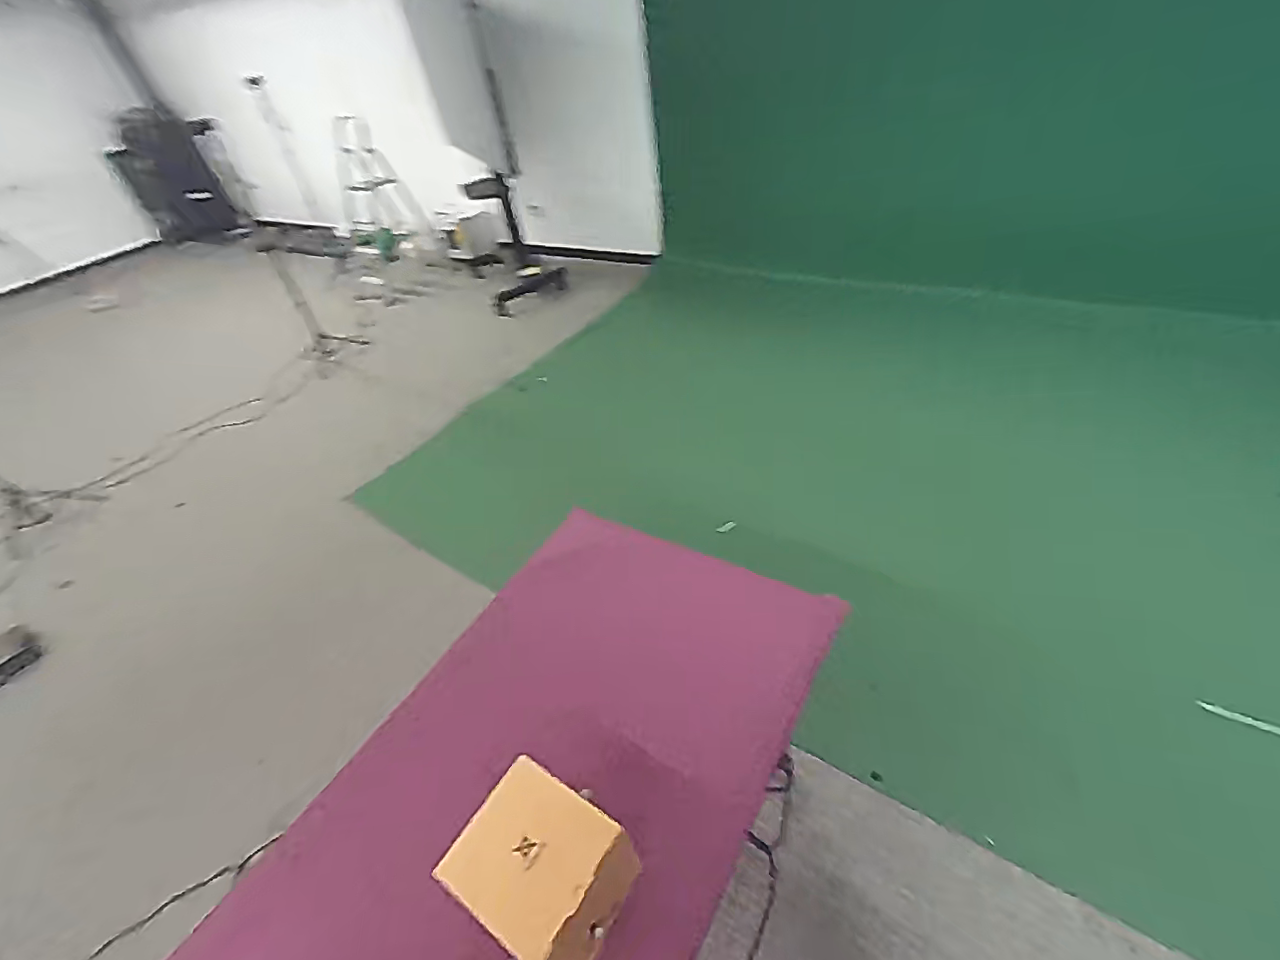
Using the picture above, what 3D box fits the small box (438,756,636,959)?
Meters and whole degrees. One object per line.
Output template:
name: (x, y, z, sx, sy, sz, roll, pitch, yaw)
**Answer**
small box: (-0.126, 0.515, 0.718, 0.179, 0.176, 0.168, 19, 49, 29)
